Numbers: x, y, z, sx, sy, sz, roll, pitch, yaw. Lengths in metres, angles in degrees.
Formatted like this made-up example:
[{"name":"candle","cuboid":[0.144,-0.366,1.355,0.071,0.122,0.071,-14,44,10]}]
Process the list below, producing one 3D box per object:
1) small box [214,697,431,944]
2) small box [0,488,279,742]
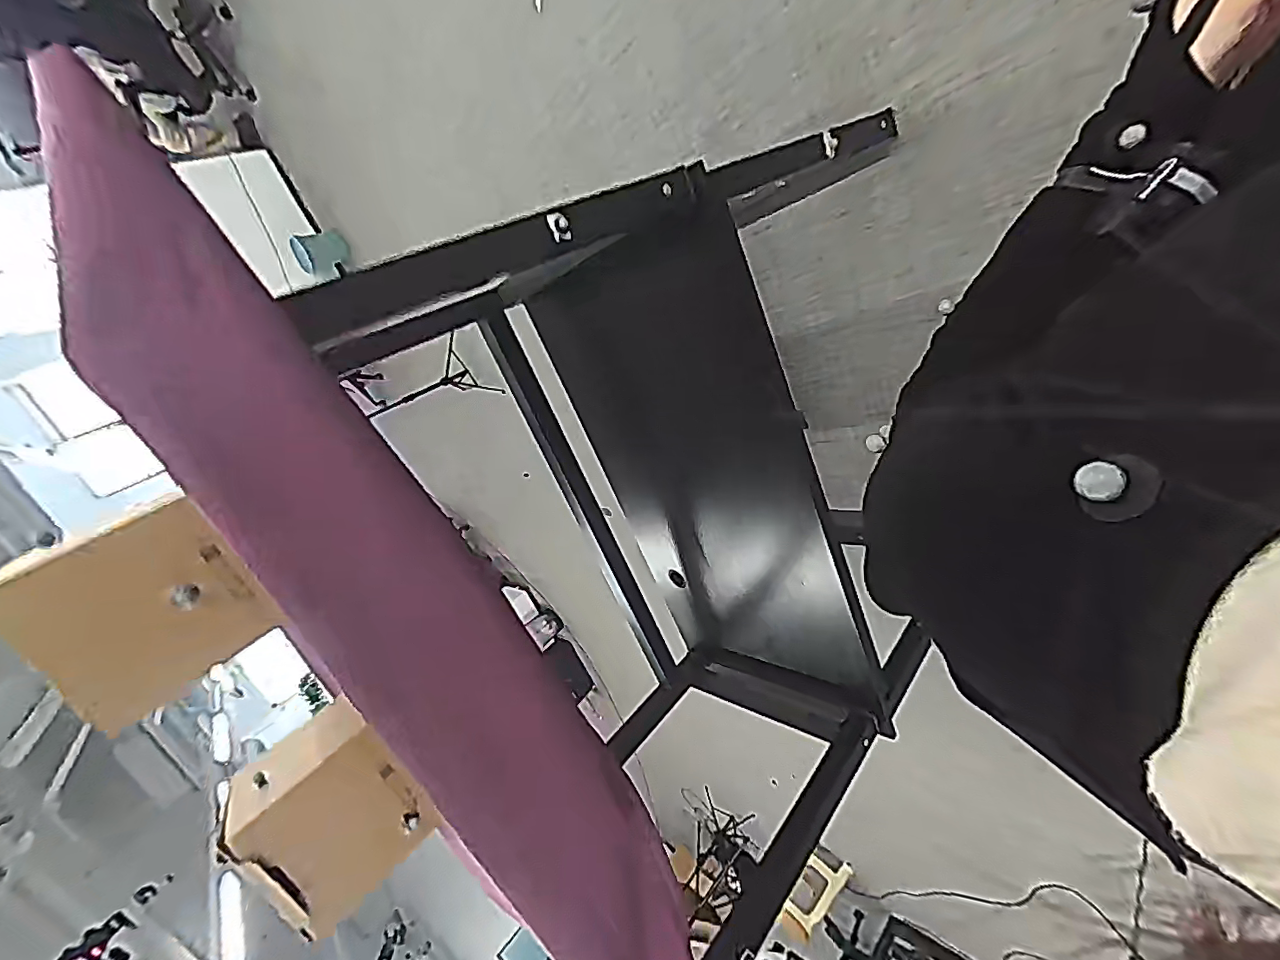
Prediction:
[{"name":"small box","cuboid":[-0.392,0.406,0.682,0.179,0.176,0.168,-7,115,54]},{"name":"small box","cuboid":[-0.513,0.121,0.562,0.179,0.176,0.168,5,125,49]}]
